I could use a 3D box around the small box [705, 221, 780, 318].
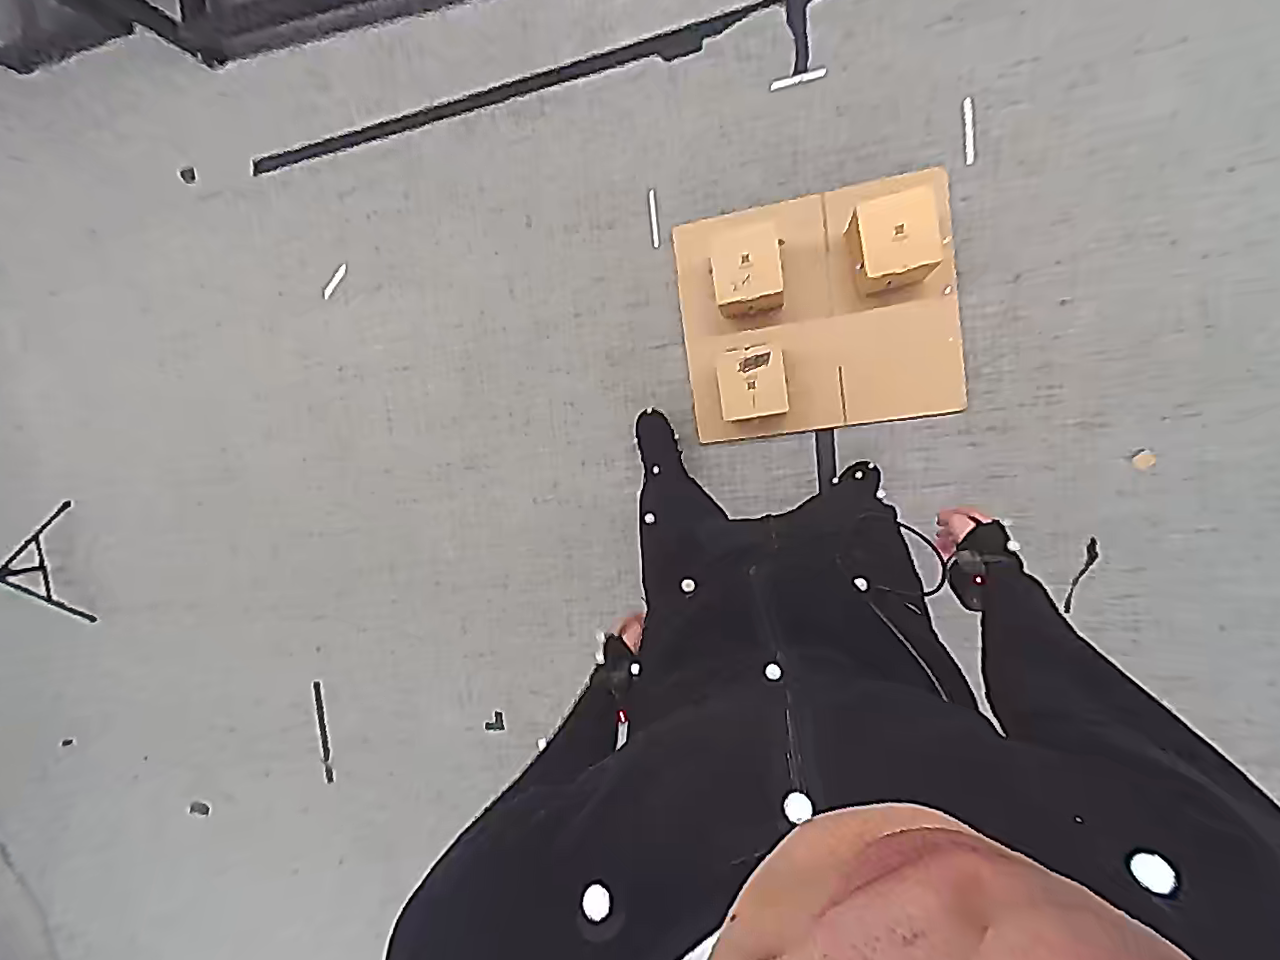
[{"bbox_3d":[0.265,-0.533,1.393,0.168,0.176,0.179,-7,95,15],"label":"small box"}]

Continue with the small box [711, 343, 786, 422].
[{"bbox_3d":[0.287,-0.250,1.421,0.168,0.176,0.179,-8,95,15],"label":"small box"}]

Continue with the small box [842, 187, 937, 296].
[{"bbox_3d":[0.598,-0.570,1.315,0.168,0.176,0.179,-11,94,15],"label":"small box"}]
